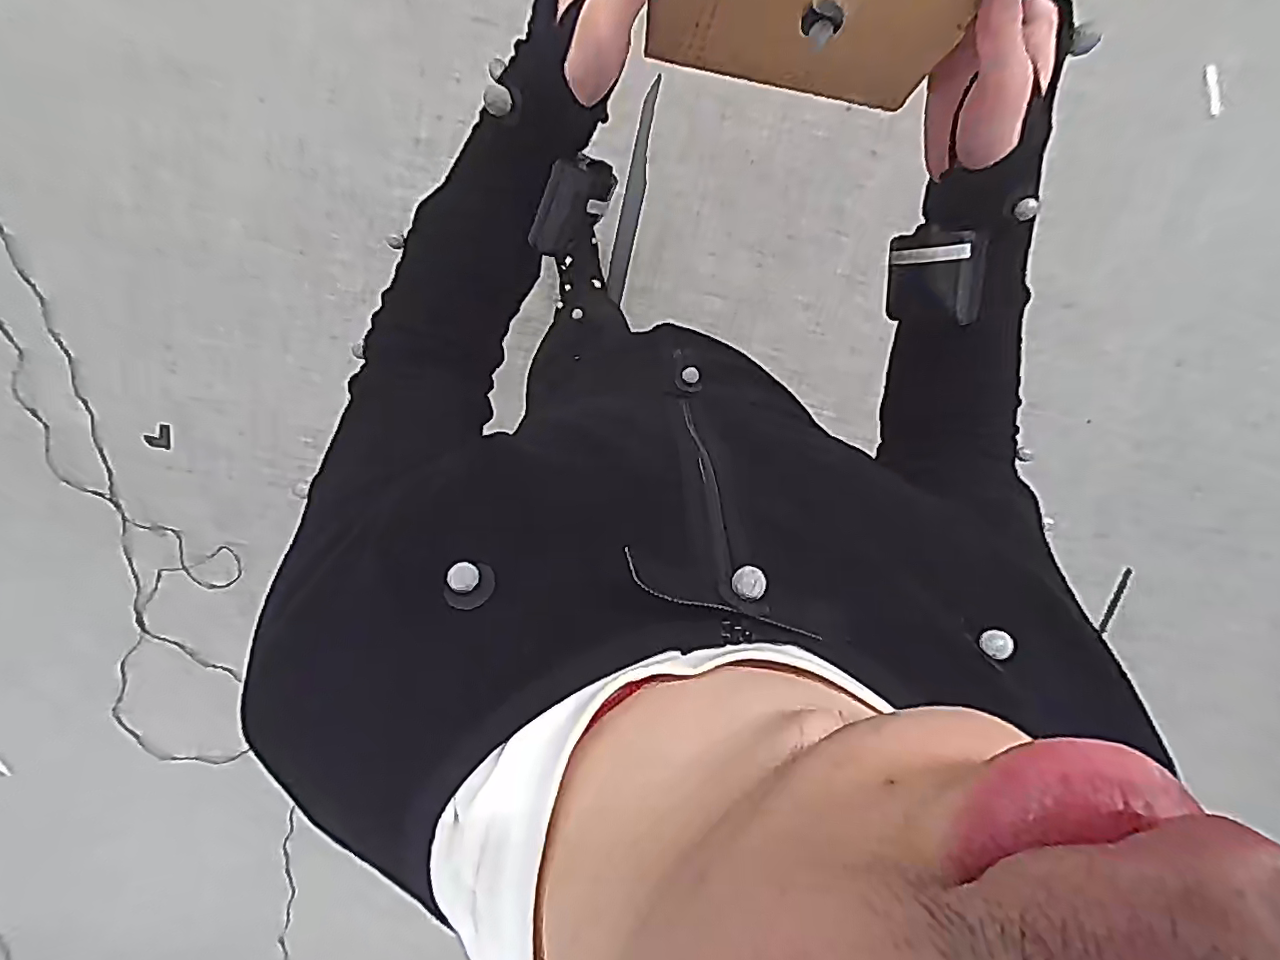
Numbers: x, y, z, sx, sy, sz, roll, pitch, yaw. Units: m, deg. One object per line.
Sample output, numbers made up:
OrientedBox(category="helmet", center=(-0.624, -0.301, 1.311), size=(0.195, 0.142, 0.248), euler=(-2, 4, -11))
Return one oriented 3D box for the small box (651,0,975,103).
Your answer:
OrientedBox(category="small box", center=(0.101, -0.341, 0.266), size=(0.176, 0.168, 0.179), euler=(5, 83, -11))
